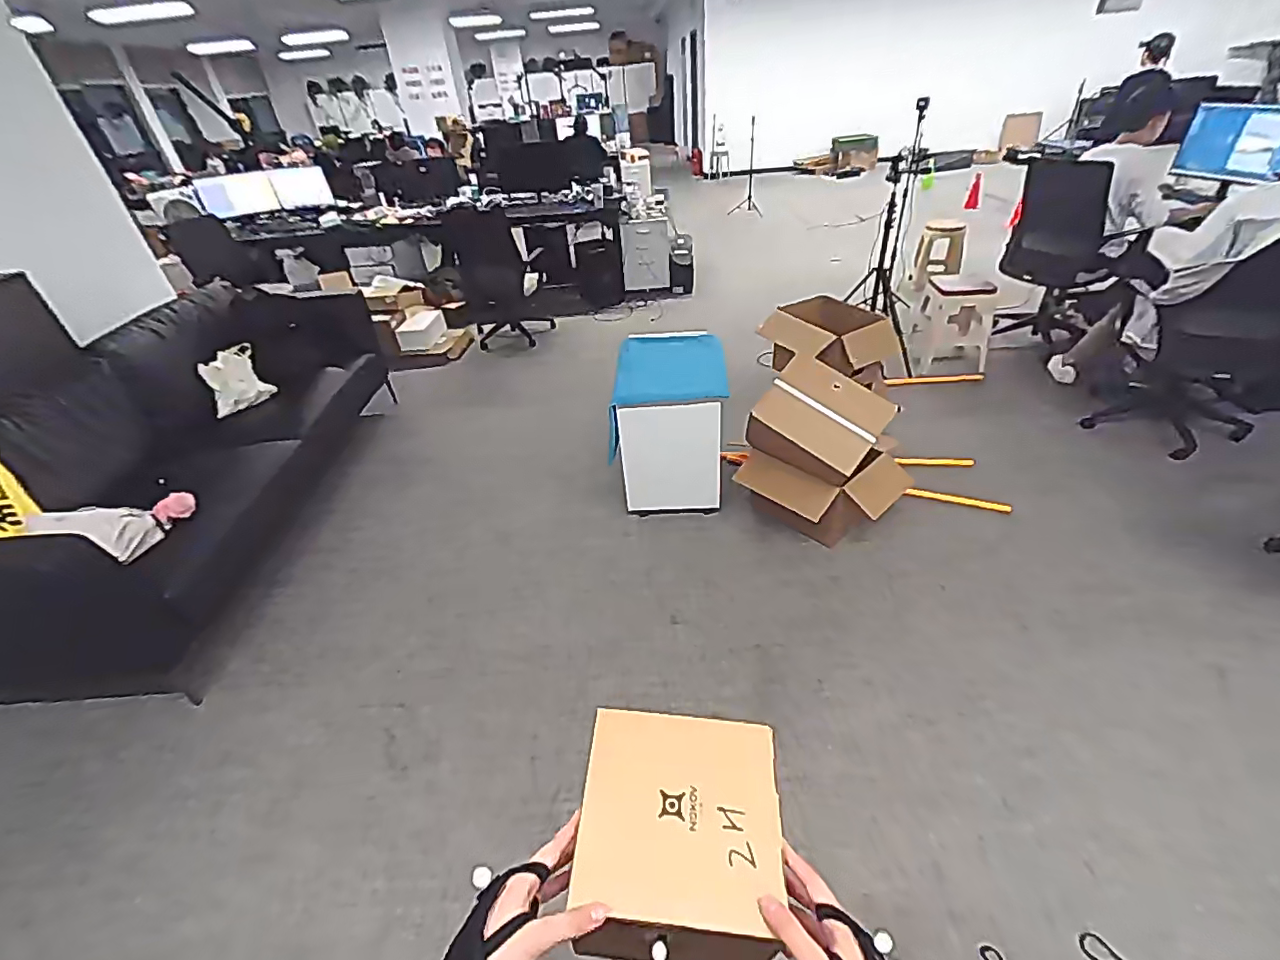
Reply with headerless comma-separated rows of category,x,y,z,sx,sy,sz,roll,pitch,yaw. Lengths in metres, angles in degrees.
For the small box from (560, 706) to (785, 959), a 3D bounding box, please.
small box,0.031,0.344,0.521,0.179,0.176,0.168,5,41,3
